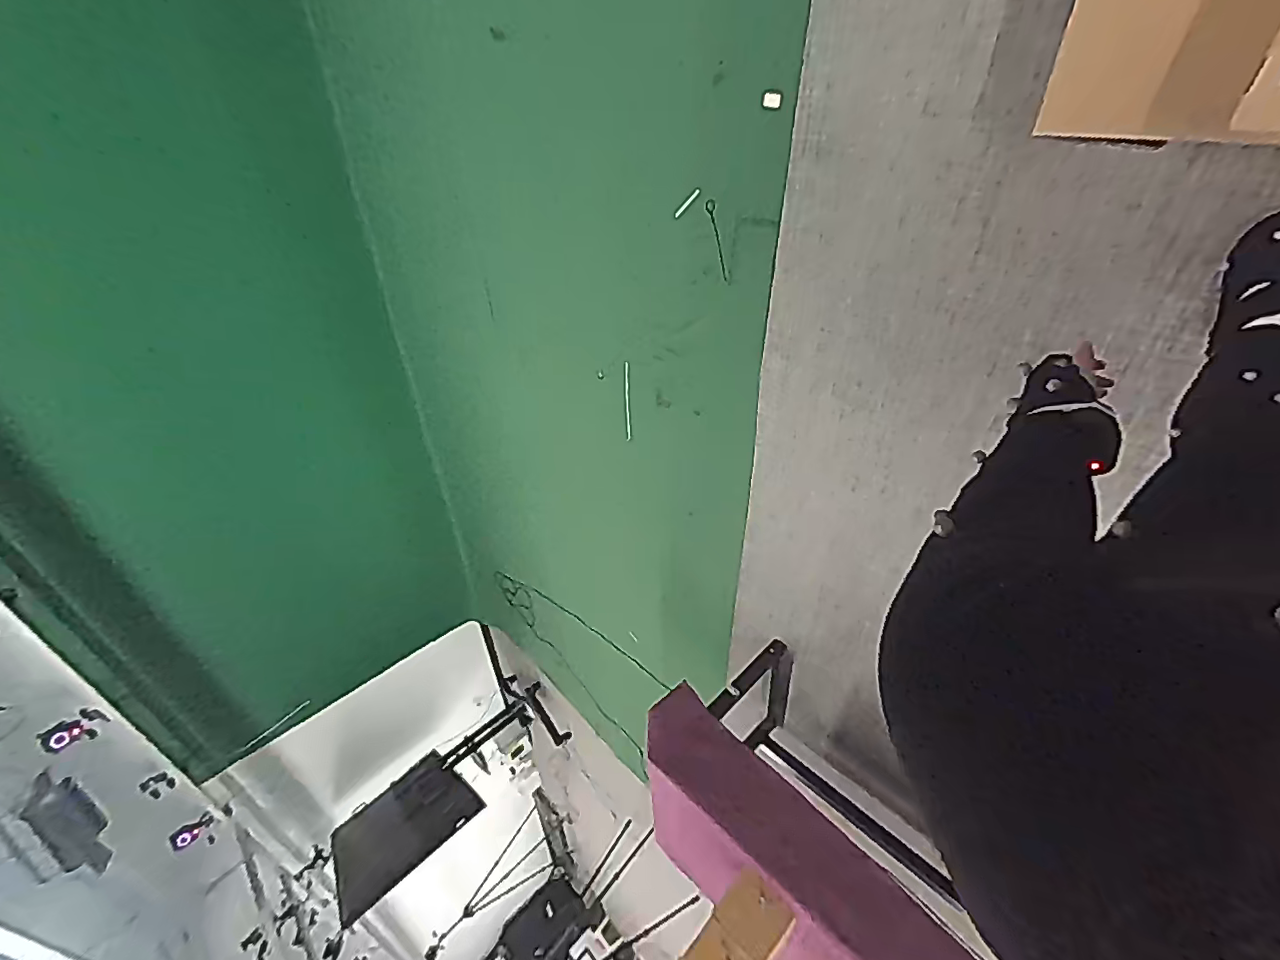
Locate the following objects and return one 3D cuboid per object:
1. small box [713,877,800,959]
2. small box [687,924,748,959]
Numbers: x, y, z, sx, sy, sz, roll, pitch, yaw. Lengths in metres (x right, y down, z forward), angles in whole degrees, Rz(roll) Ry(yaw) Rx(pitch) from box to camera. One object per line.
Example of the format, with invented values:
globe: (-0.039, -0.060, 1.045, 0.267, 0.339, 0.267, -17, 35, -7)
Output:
small box: (0.325, 1.280, 1.539, 0.179, 0.176, 0.168, 30, 136, 37)
small box: (0.210, 1.358, 1.453, 0.168, 0.176, 0.179, 30, 135, 36)
